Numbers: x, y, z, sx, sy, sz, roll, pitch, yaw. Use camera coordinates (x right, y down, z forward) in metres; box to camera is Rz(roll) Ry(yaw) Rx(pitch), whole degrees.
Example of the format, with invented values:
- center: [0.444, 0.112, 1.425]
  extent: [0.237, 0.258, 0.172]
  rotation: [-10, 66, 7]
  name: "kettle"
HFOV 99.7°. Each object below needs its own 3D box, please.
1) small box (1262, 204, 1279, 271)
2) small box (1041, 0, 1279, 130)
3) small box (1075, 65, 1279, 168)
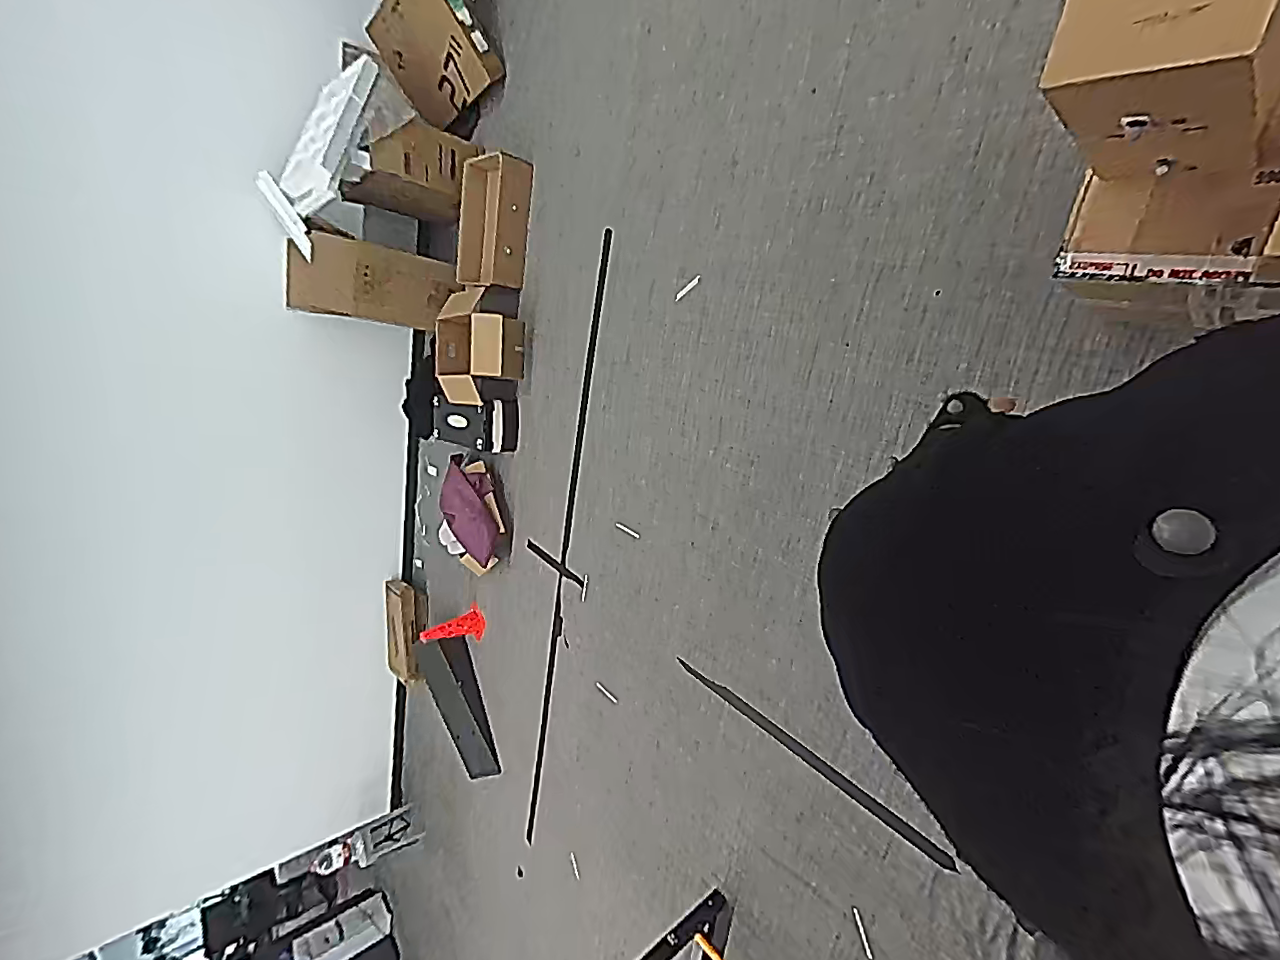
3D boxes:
- center: [0.786, -0.314, 0.549]
  extent: [0.168, 0.176, 0.179]
  rotation: [25, 114, 43]
  name: "small box"
- center: [0.549, -0.486, 0.544]
  extent: [0.168, 0.176, 0.179]
  rotation: [27, 115, 45]
  name: "small box"
- center: [0.670, -0.501, 0.651]
  extent: [0.168, 0.176, 0.179]
  rotation: [27, 115, 45]
  name: "small box"
